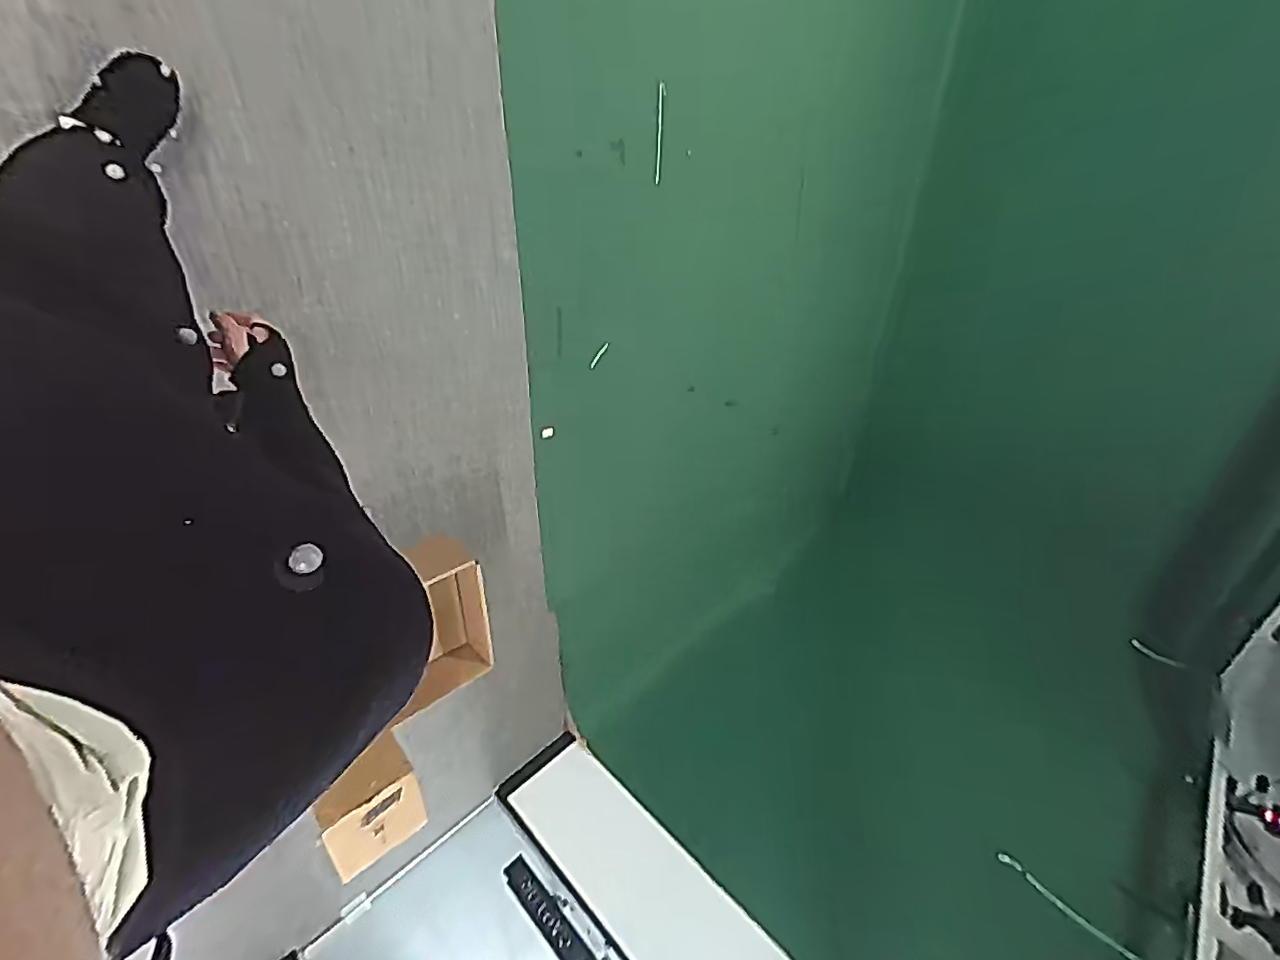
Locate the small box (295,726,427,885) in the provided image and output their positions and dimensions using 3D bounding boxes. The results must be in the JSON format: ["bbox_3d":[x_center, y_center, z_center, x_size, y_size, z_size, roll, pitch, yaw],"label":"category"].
[{"bbox_3d":[-0.541,0.615,1.050,0.168,0.176,0.179,-23,128,-38],"label":"small box"}]
